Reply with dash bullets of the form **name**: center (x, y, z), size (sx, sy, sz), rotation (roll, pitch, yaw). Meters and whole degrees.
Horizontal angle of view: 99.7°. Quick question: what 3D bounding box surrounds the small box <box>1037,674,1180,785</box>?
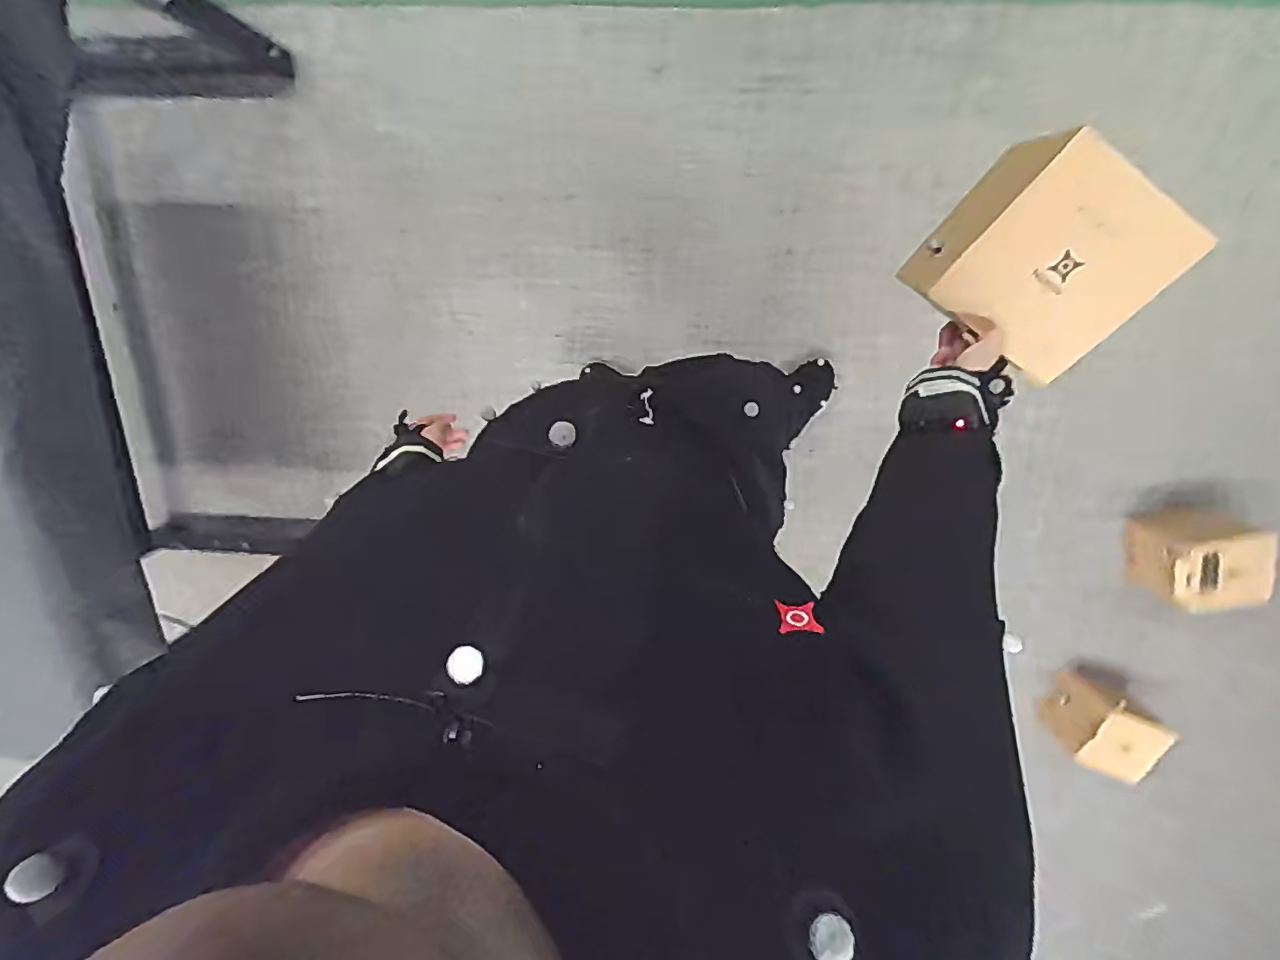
- **small box**: center (1.184, 0.629, 1.382), size (0.179, 0.176, 0.168), rotation (21, 108, -1)
